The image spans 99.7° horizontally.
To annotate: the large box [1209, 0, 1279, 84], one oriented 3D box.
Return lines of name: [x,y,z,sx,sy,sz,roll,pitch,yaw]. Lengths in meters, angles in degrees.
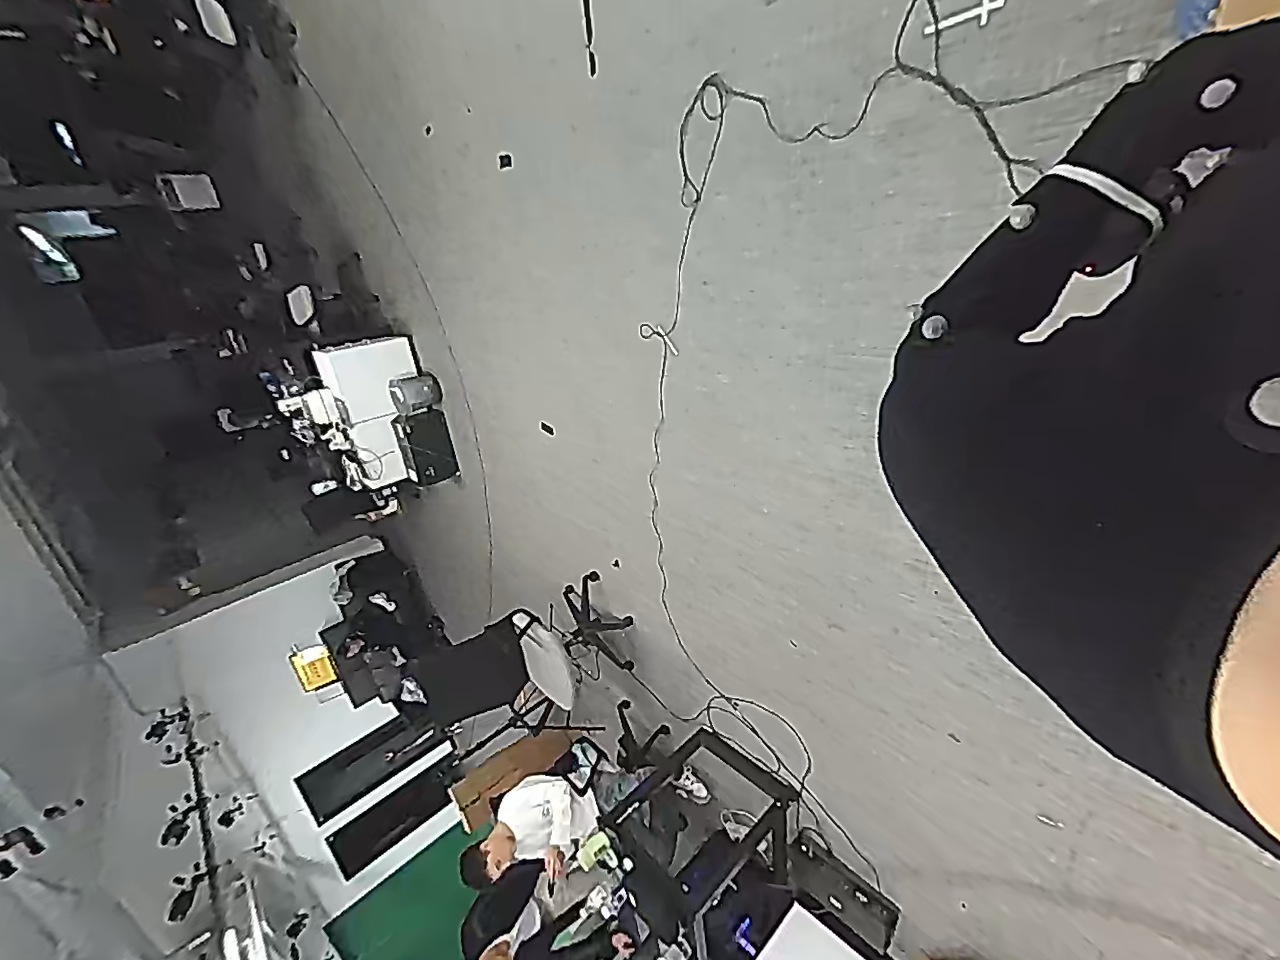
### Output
large box: [0.880,-0.639,0.523,0.408,0.320,0.320,17,123,44]
